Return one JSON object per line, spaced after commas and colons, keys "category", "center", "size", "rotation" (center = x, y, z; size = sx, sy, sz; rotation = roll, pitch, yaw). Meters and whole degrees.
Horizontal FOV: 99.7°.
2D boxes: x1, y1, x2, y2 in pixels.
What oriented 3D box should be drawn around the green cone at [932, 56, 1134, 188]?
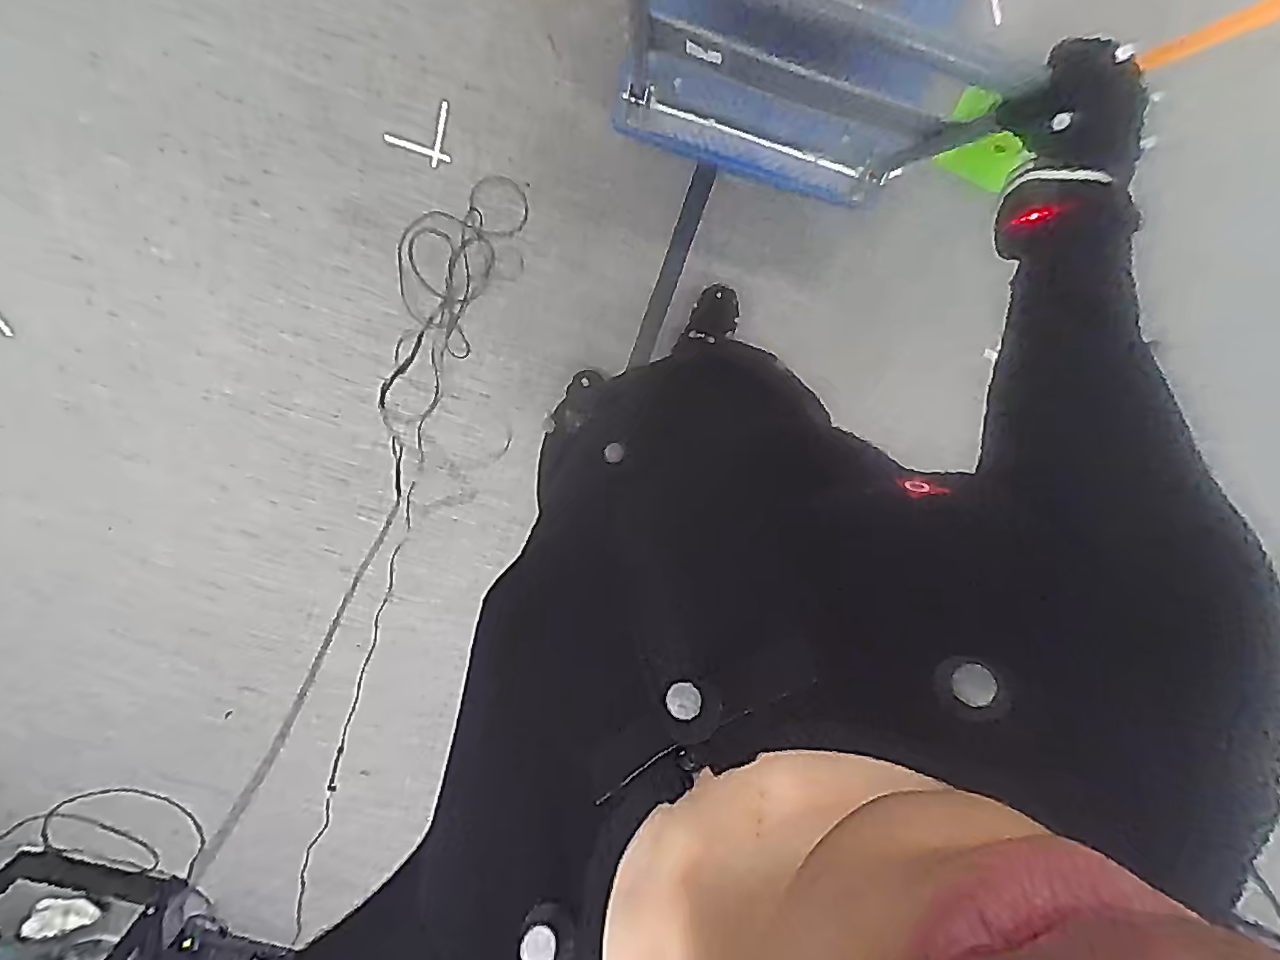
{"category": "green cone", "center": [0.786, -0.735, 1.056], "size": [0.202, 0.368, 0.200], "rotation": [21, 109, -8]}
